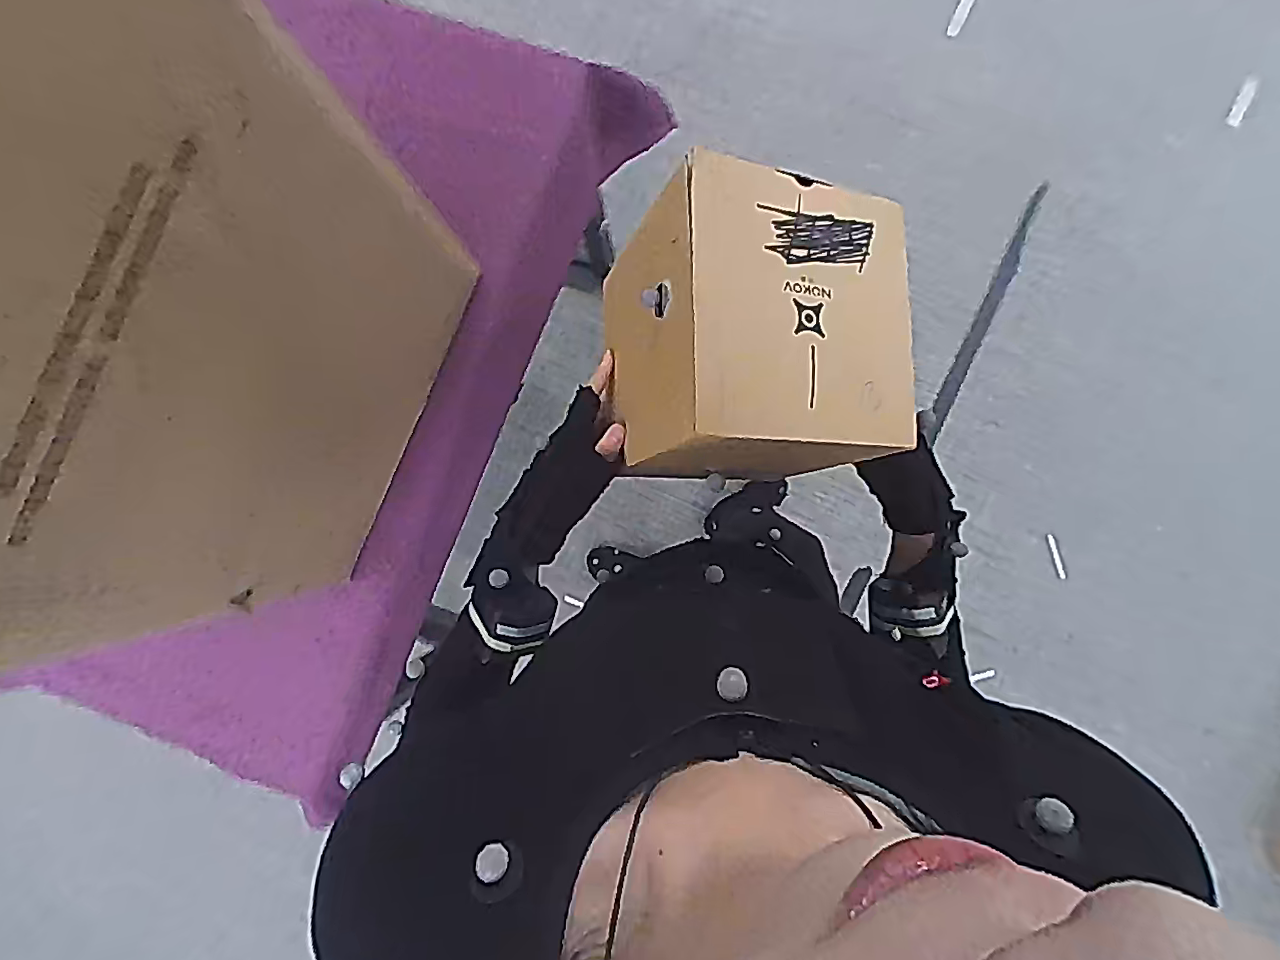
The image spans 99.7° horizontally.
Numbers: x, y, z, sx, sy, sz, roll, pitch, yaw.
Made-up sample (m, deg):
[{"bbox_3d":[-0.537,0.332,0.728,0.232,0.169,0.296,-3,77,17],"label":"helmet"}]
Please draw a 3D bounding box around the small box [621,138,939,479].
[{"bbox_3d":[0.087,-0.102,0.407,0.168,0.176,0.179,2,82,-20],"label":"small box"}]
